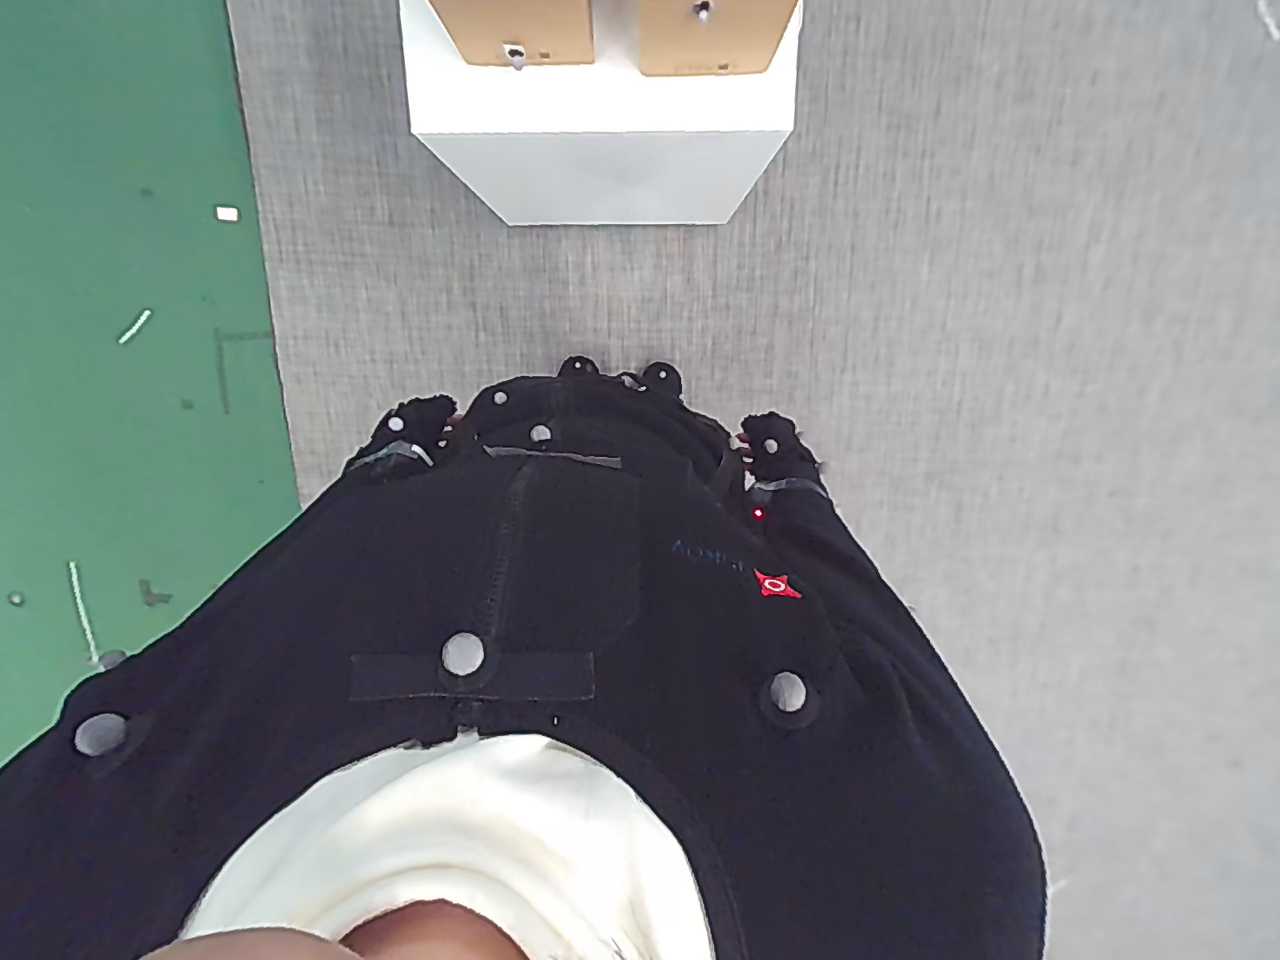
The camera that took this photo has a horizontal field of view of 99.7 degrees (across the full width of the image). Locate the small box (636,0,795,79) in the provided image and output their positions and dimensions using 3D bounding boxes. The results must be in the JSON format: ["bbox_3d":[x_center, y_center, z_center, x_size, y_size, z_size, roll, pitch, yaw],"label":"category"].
[{"bbox_3d":[0.079,-0.593,0.606,0.168,0.176,0.179,0,102,0],"label":"small box"}]

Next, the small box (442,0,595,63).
[{"bbox_3d":[-0.140,-0.600,0.591,0.168,0.176,0.179,-2,104,1],"label":"small box"}]
